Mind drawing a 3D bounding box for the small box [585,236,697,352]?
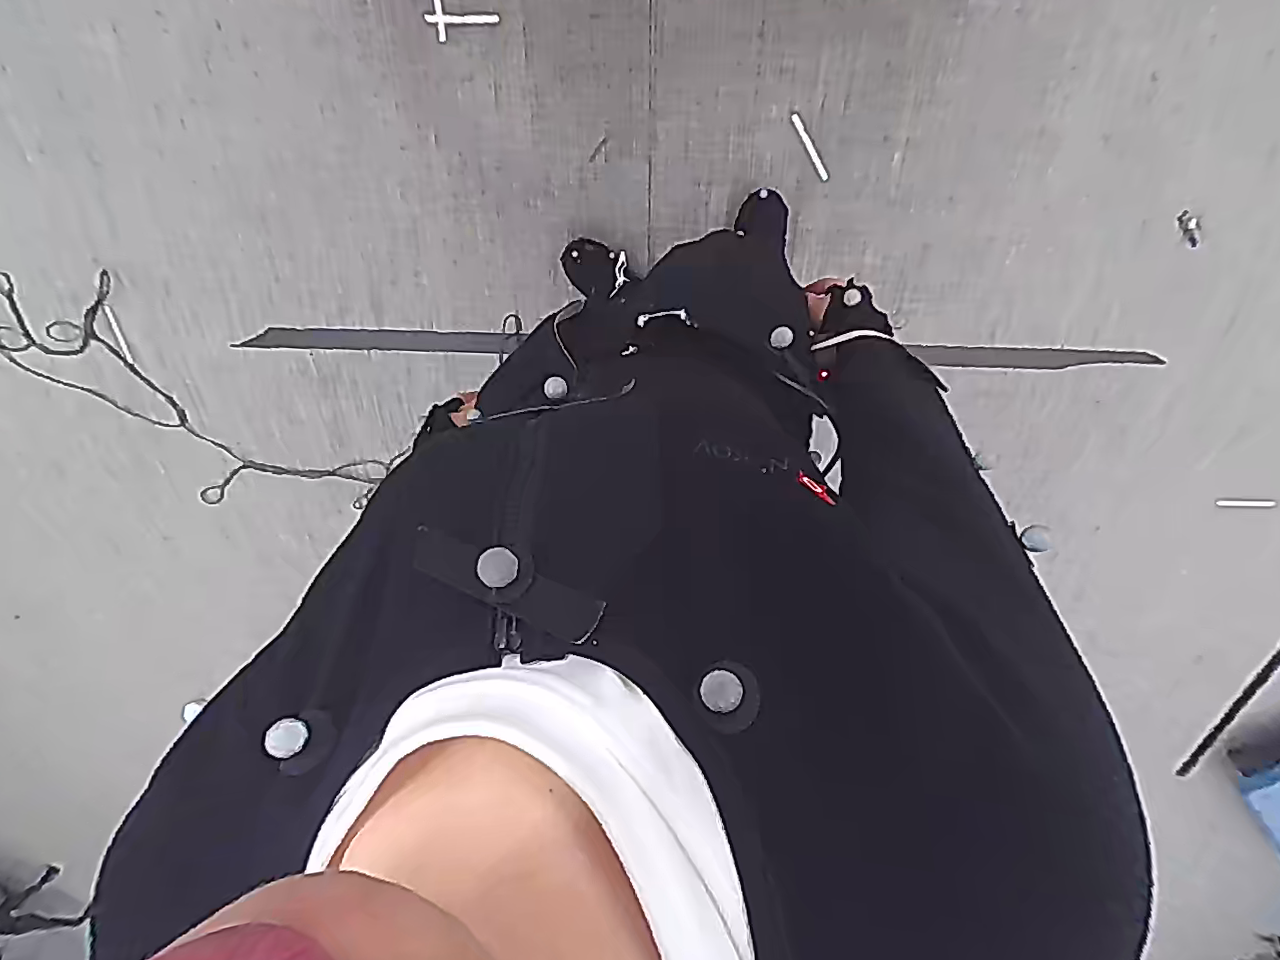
[{"bbox_3d":[0.001,-0.390,1.138,0.179,0.176,0.168,-39,109,17],"label":"small box"}]
